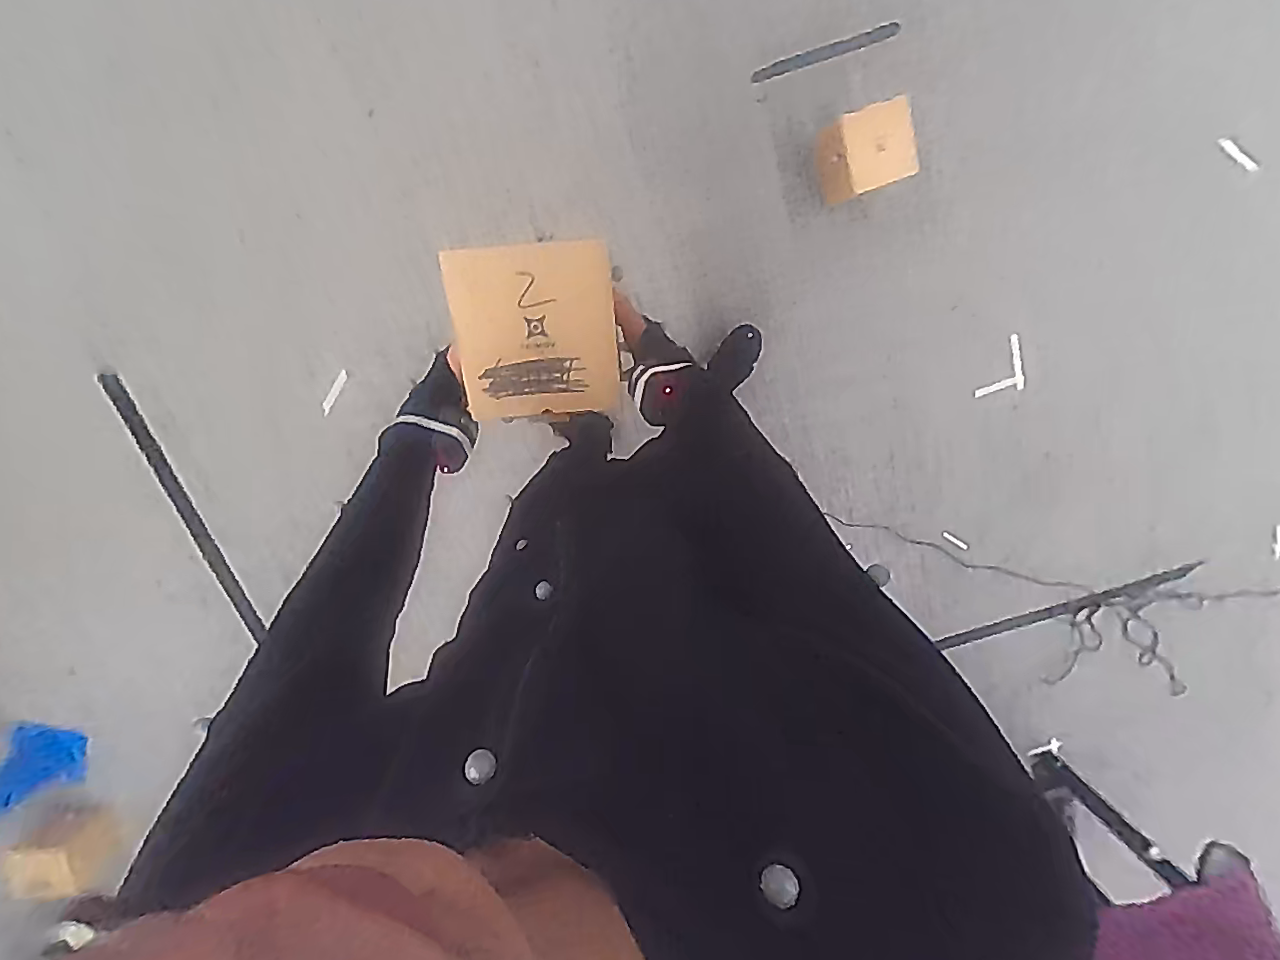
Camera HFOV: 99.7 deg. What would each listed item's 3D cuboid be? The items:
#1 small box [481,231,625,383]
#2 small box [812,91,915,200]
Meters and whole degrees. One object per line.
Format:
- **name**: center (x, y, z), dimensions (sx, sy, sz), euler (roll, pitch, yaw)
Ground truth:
- **small box**: center (-0.115, -0.251, 0.774), dimensions (0.168, 0.176, 0.179), euler (-7, 115, -1)
- **small box**: center (0.553, -0.821, 1.352), dimensions (0.168, 0.176, 0.179), euler (-20, 107, 1)
